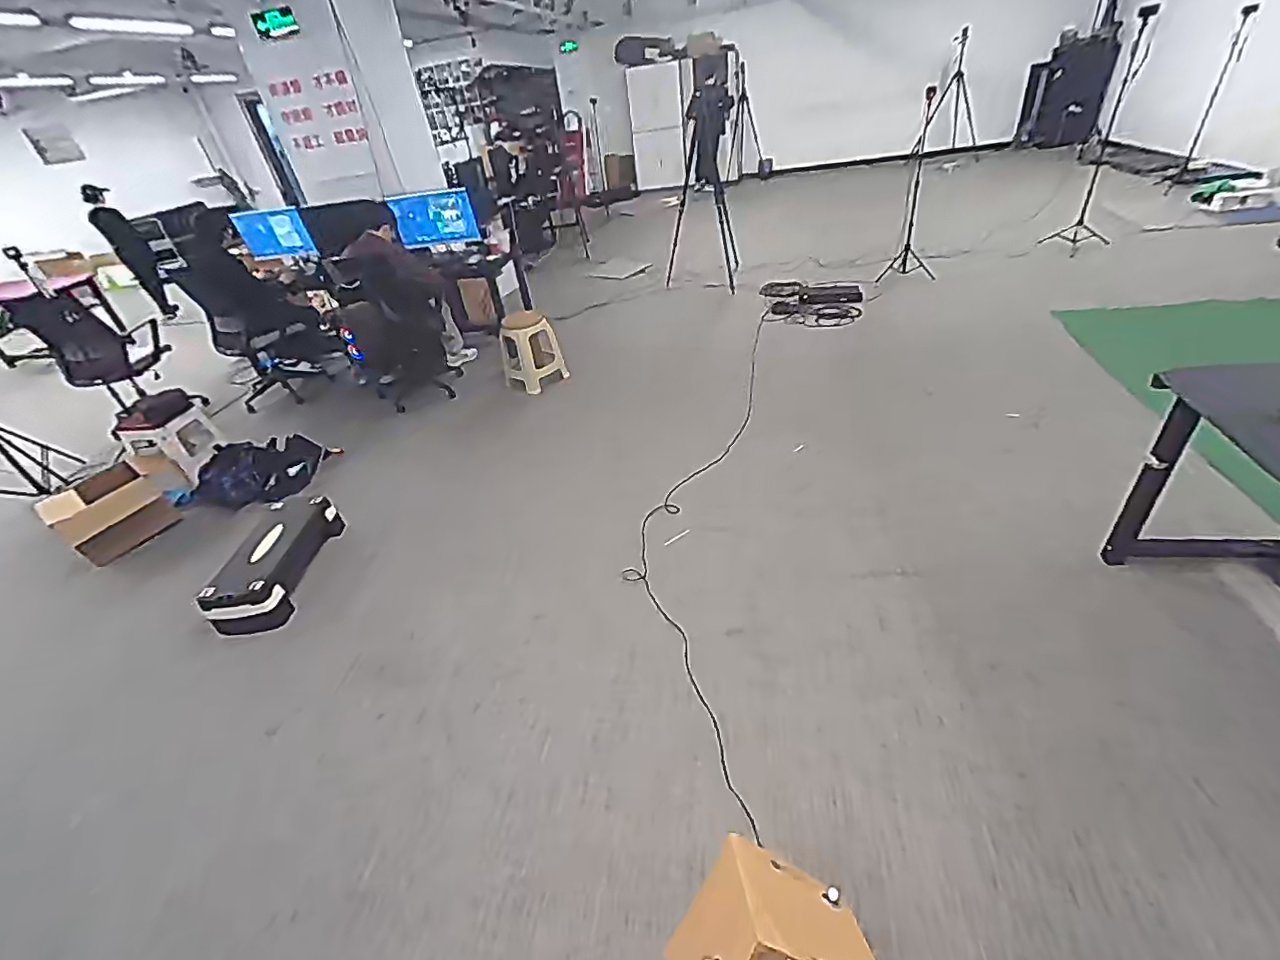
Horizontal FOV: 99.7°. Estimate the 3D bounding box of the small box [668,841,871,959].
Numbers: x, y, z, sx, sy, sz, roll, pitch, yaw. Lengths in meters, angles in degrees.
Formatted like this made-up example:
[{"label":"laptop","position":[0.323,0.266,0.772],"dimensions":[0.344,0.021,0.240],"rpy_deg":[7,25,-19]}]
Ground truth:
[{"label":"small box","position":[0.138,0.544,0.581],"dimensions":[0.168,0.179,0.176],"rpy_deg":[30,-1,0]}]
